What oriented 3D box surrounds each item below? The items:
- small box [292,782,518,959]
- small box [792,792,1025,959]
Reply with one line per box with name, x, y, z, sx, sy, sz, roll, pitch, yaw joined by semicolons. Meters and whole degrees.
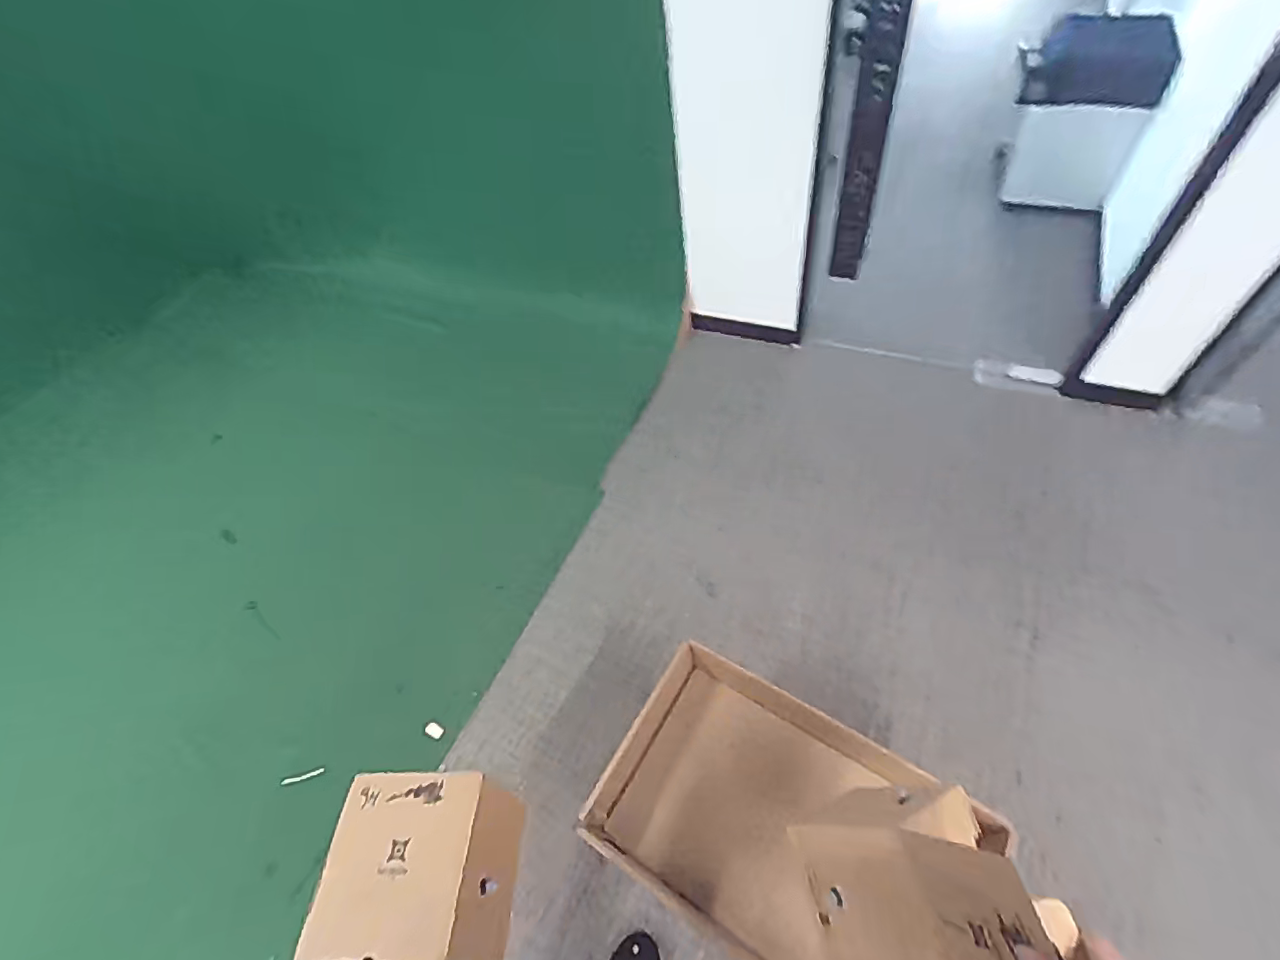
small box;-0.255;0.475;0.635;0.168;0.176;0.179;-6;46;7
small box;0.324;0.502;0.673;0.179;0.176;0.168;4;61;-36
